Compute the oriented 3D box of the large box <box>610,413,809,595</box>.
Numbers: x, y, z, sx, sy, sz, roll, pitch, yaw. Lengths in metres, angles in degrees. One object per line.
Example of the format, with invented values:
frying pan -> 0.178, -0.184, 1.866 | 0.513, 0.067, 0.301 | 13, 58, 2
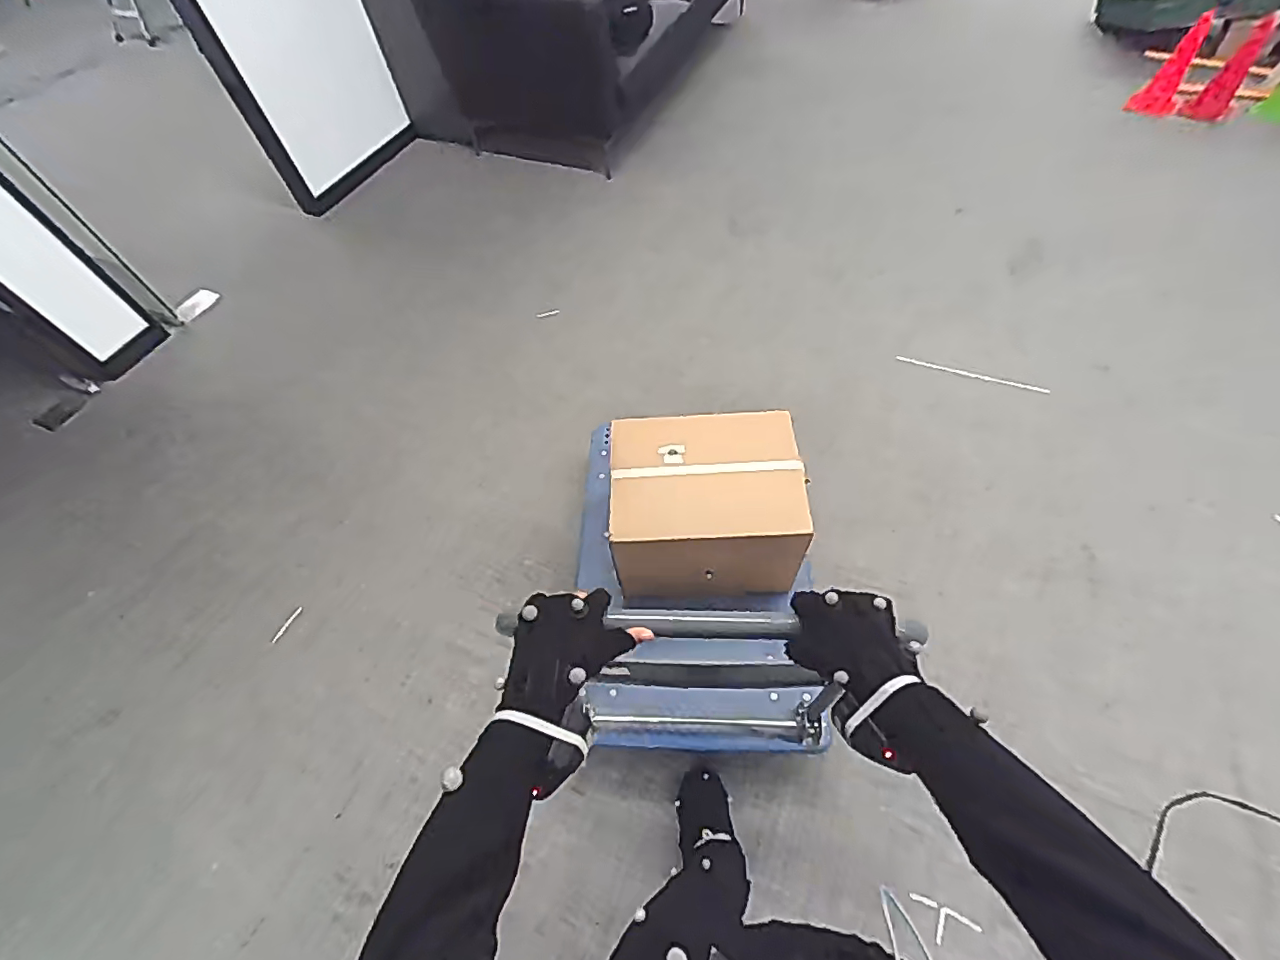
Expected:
large box -> 0.148, 0.068, 1.283 | 0.408, 0.320, 0.320 | -4, 57, 3
